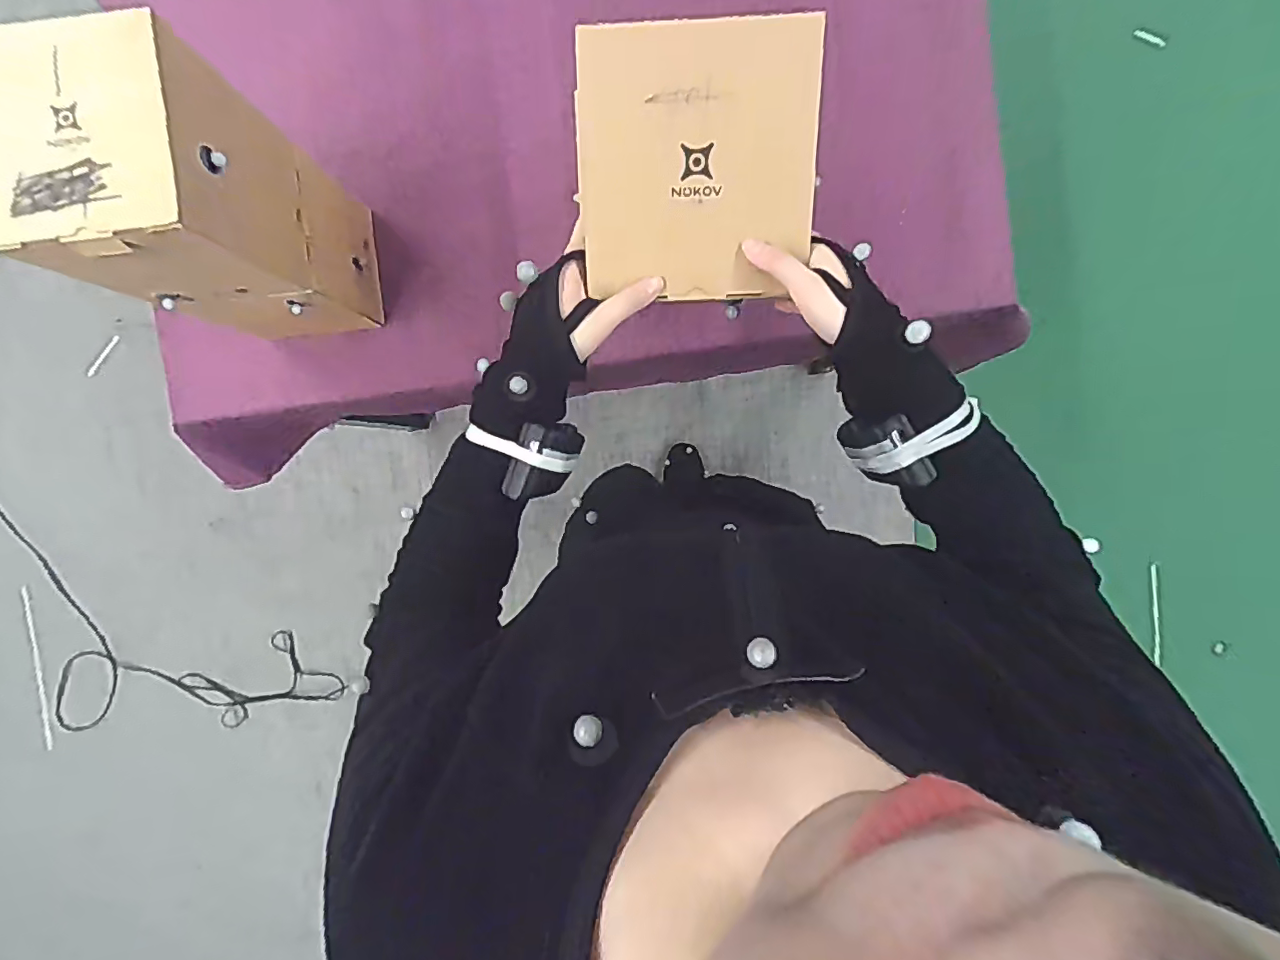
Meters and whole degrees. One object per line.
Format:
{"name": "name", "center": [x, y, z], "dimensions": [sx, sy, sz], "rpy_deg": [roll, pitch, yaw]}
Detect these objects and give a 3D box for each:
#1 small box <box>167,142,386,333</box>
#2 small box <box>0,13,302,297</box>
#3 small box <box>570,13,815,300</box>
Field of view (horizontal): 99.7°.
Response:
{"name": "small box", "center": [-0.457, -0.293, 0.690], "dimensions": [0.179, 0.176, 0.168], "rpy_deg": [-6, 92, 1]}
{"name": "small box", "center": [-0.462, -0.290, 0.526], "dimensions": [0.168, 0.176, 0.179], "rpy_deg": [-7, 91, 1]}
{"name": "small box", "center": [0.040, -0.246, 0.458], "dimensions": [0.168, 0.176, 0.179], "rpy_deg": [0, 107, 4]}
